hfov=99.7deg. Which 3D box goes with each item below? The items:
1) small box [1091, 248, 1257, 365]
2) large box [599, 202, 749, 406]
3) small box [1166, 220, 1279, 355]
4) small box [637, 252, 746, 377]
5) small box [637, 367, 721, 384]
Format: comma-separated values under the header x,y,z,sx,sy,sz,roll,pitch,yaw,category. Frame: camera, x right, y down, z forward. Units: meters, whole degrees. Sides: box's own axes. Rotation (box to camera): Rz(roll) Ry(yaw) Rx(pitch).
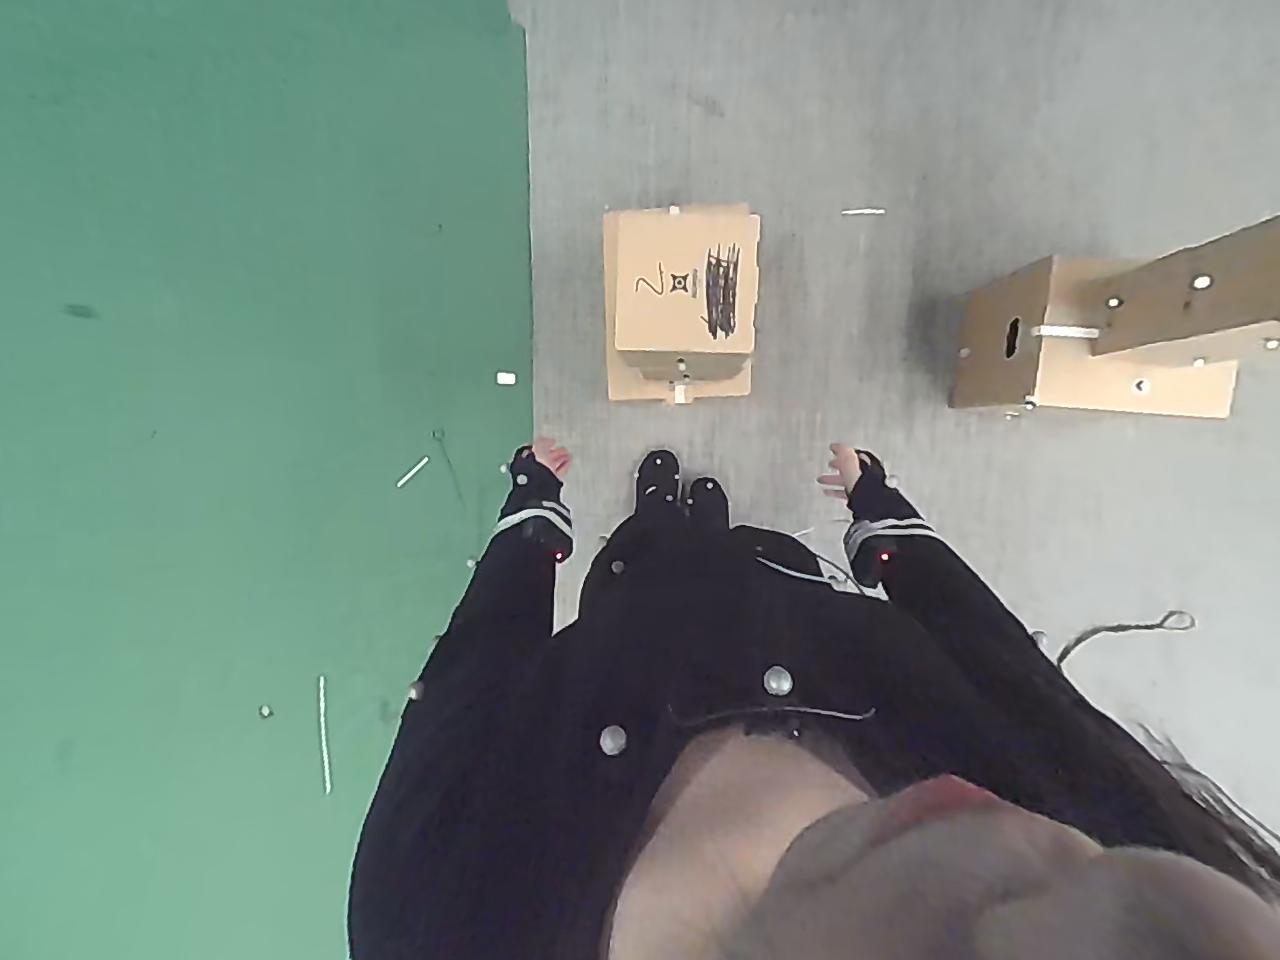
x,y,z,sx,sy,sz,roll,pitch,yaw,category
1.021,-0.317,1.024,0.179,0.176,0.168,9,94,2,small box
0.082,-0.393,1.304,0.320,0.320,0.408,-1,94,3,large box
1.016,-0.302,0.860,0.179,0.176,0.168,10,93,2,small box
0.083,-0.267,0.906,0.168,0.176,0.179,1,95,2,small box
0.083,-0.284,1.070,0.168,0.176,0.179,1,94,3,small box
